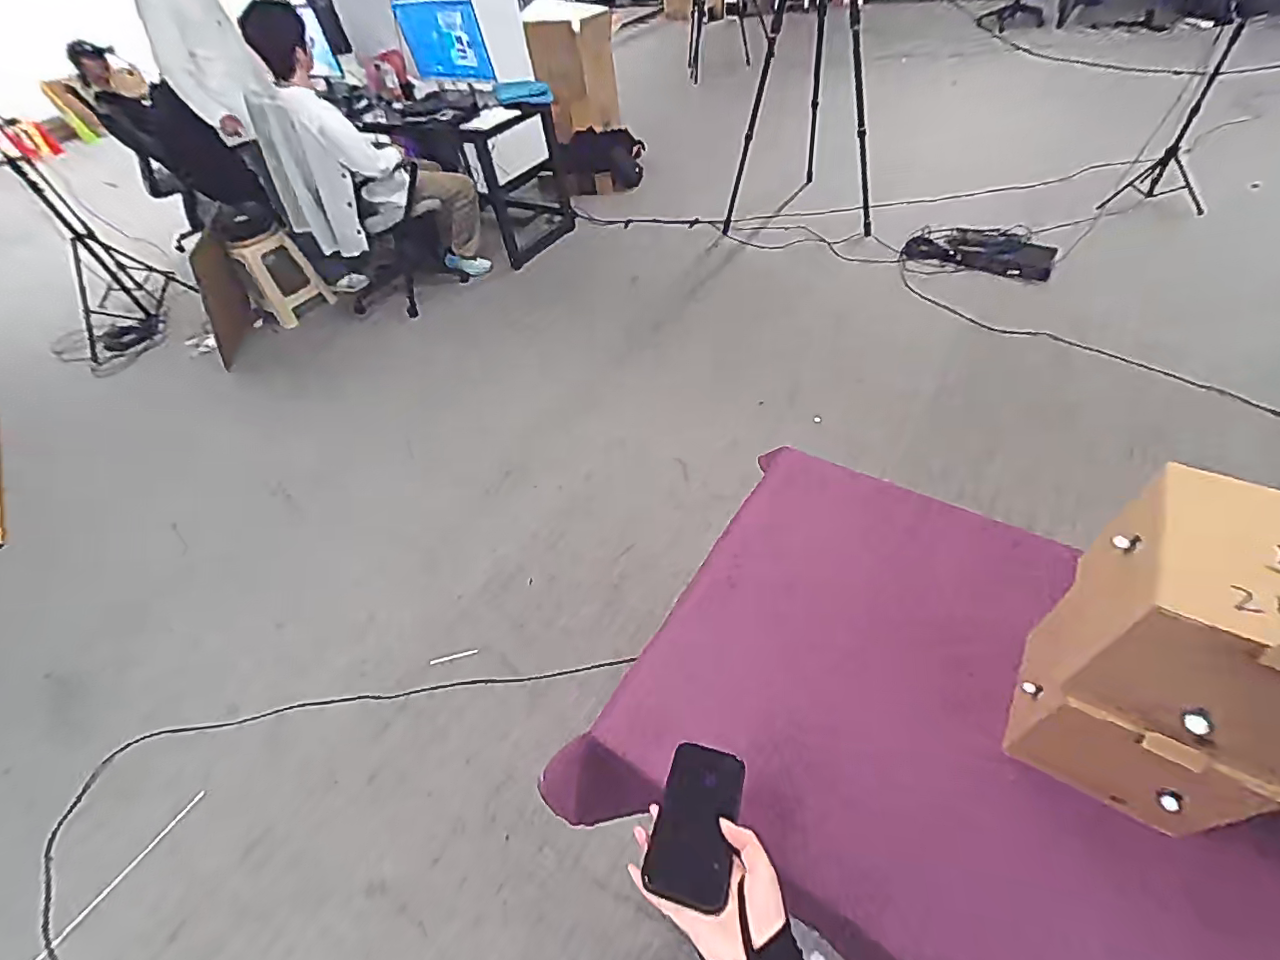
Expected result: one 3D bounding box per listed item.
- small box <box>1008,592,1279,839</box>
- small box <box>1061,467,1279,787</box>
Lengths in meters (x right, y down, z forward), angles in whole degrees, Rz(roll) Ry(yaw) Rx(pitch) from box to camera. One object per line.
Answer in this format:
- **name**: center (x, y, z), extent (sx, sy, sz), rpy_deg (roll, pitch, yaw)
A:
- **small box**: center (0.531, 0.246, 0.584), extent (0.168, 0.176, 0.179), rpy_deg (23, 55, 26)
- **small box**: center (0.508, 0.126, 0.473), extent (0.168, 0.176, 0.179), rpy_deg (22, 55, 27)
